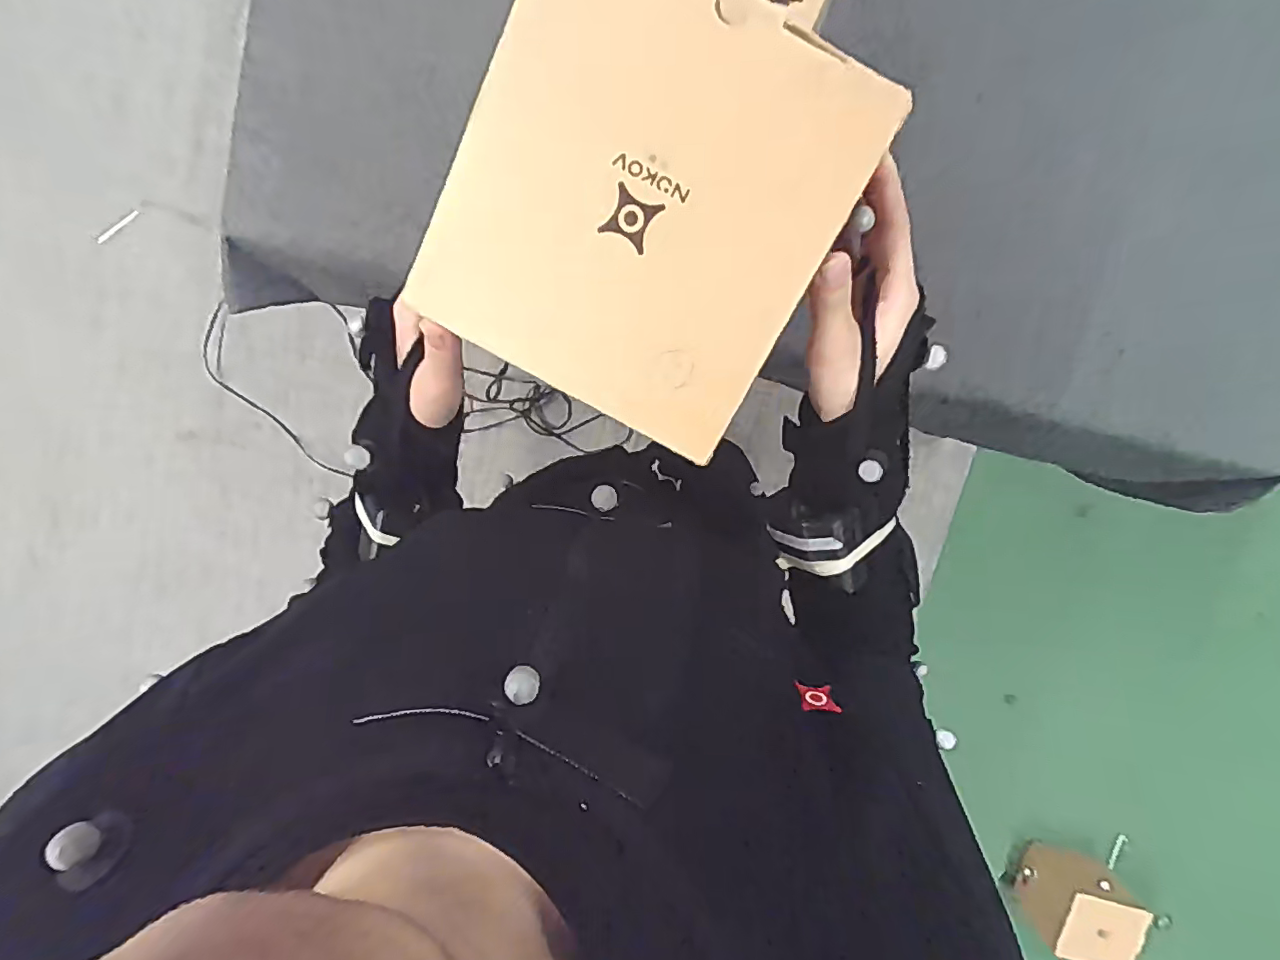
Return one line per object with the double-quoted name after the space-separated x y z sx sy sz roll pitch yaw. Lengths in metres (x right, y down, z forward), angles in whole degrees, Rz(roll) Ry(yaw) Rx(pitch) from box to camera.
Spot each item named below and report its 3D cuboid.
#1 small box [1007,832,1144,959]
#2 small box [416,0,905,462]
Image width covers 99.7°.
1.061 1.014 1.332 0.179 0.176 0.168 14 96 2 "small box"
0.009 -0.136 0.317 0.168 0.176 0.179 28 104 -1 "small box"
